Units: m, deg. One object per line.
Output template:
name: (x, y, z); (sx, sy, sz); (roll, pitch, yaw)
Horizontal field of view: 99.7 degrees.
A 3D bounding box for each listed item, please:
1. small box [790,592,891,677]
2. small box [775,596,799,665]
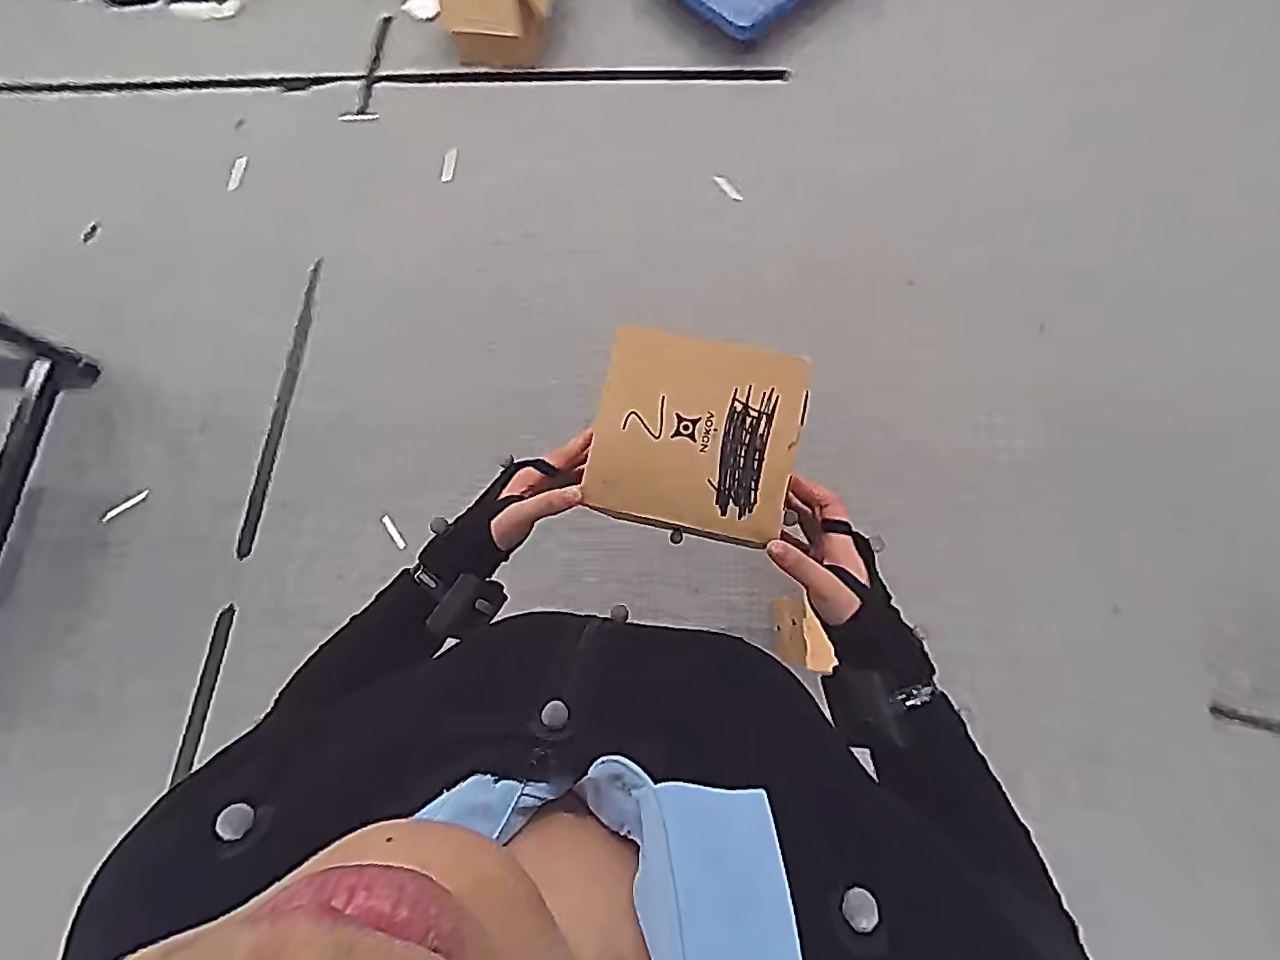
small box: (0.444, 0.346, 1.221); (0.179, 0.176, 0.168); (2, 74, 5)
small box: (0.444, 0.388, 1.379); (0.179, 0.176, 0.168); (1, 74, 3)
